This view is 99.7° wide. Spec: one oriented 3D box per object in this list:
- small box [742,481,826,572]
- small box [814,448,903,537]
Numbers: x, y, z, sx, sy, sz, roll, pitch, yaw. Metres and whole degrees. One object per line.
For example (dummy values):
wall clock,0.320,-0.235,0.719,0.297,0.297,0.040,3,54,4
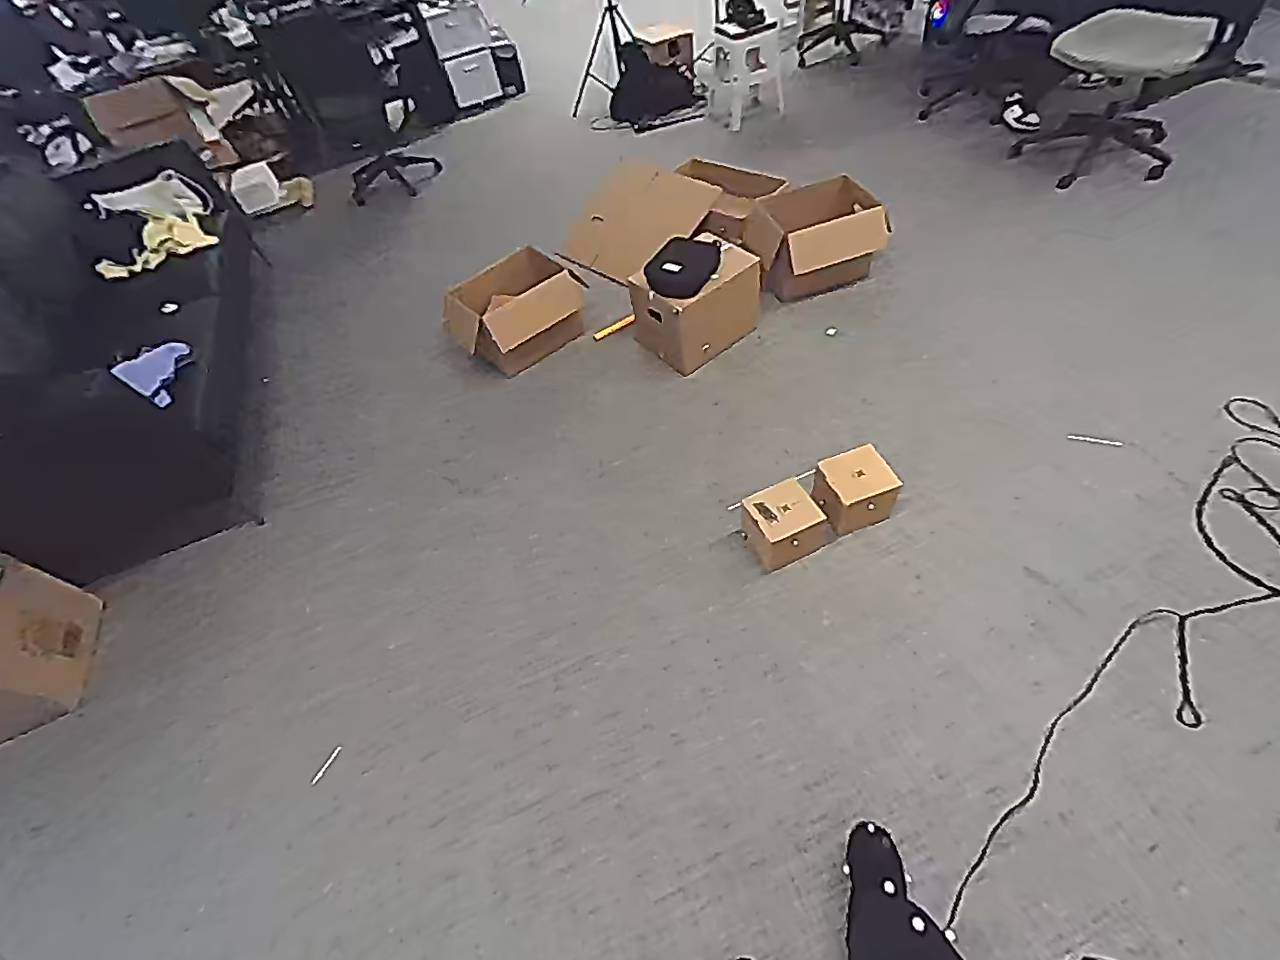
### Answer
small box,0.411,0.139,1.563,0.179,0.176,0.168,-23,52,-7
small box,0.634,0.039,1.593,0.179,0.176,0.168,-20,52,-2
